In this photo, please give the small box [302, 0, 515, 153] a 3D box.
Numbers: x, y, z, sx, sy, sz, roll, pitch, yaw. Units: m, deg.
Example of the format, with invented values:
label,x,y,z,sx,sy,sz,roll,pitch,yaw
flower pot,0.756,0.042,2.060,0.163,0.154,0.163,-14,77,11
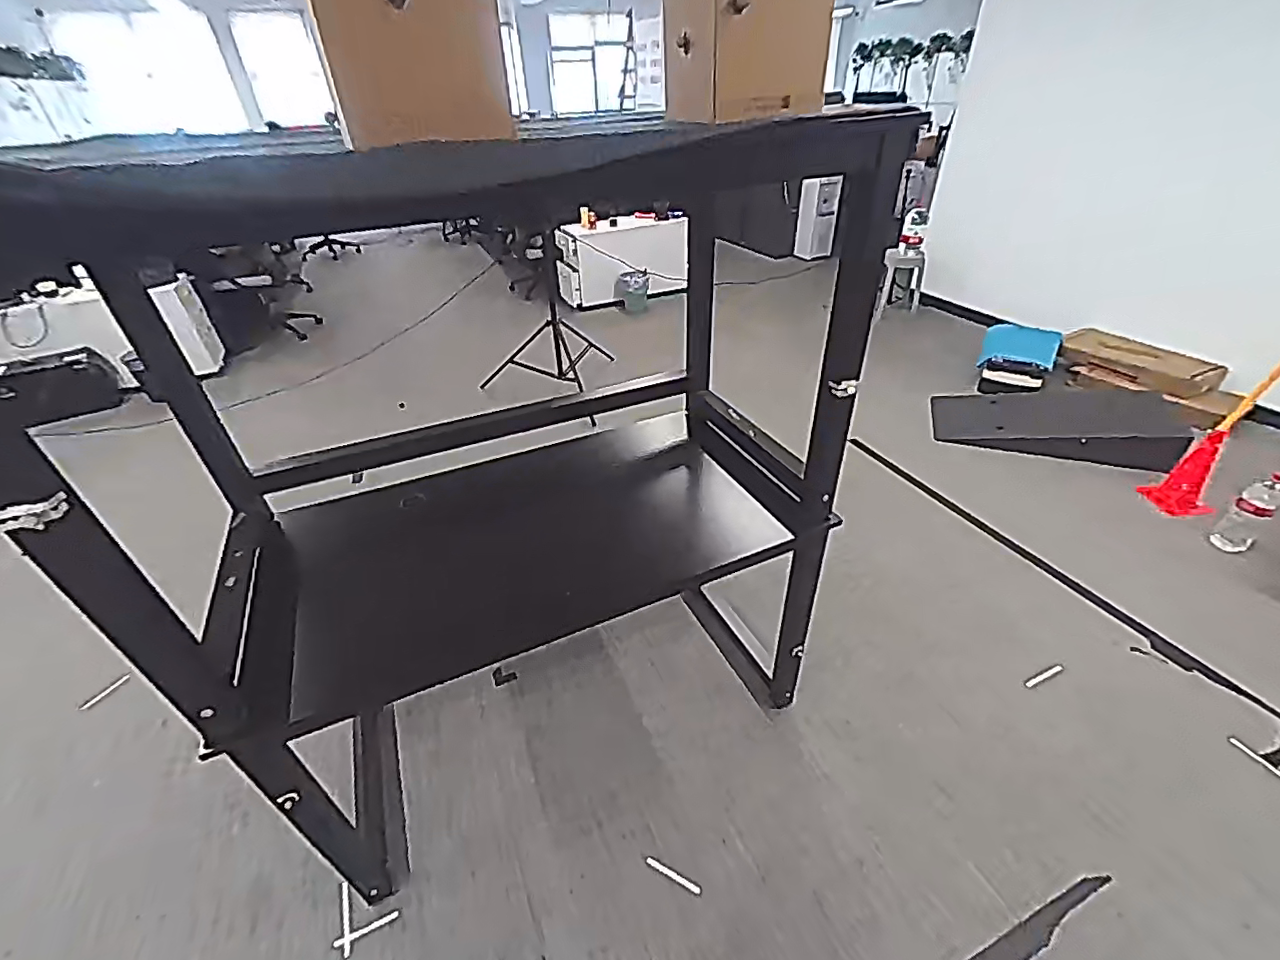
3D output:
label,x,y,z,sx,sy,sz,roll,pitch,yaw
small box,-0.256,-0.467,0.600,0.179,0.176,0.168,-18,37,-21
